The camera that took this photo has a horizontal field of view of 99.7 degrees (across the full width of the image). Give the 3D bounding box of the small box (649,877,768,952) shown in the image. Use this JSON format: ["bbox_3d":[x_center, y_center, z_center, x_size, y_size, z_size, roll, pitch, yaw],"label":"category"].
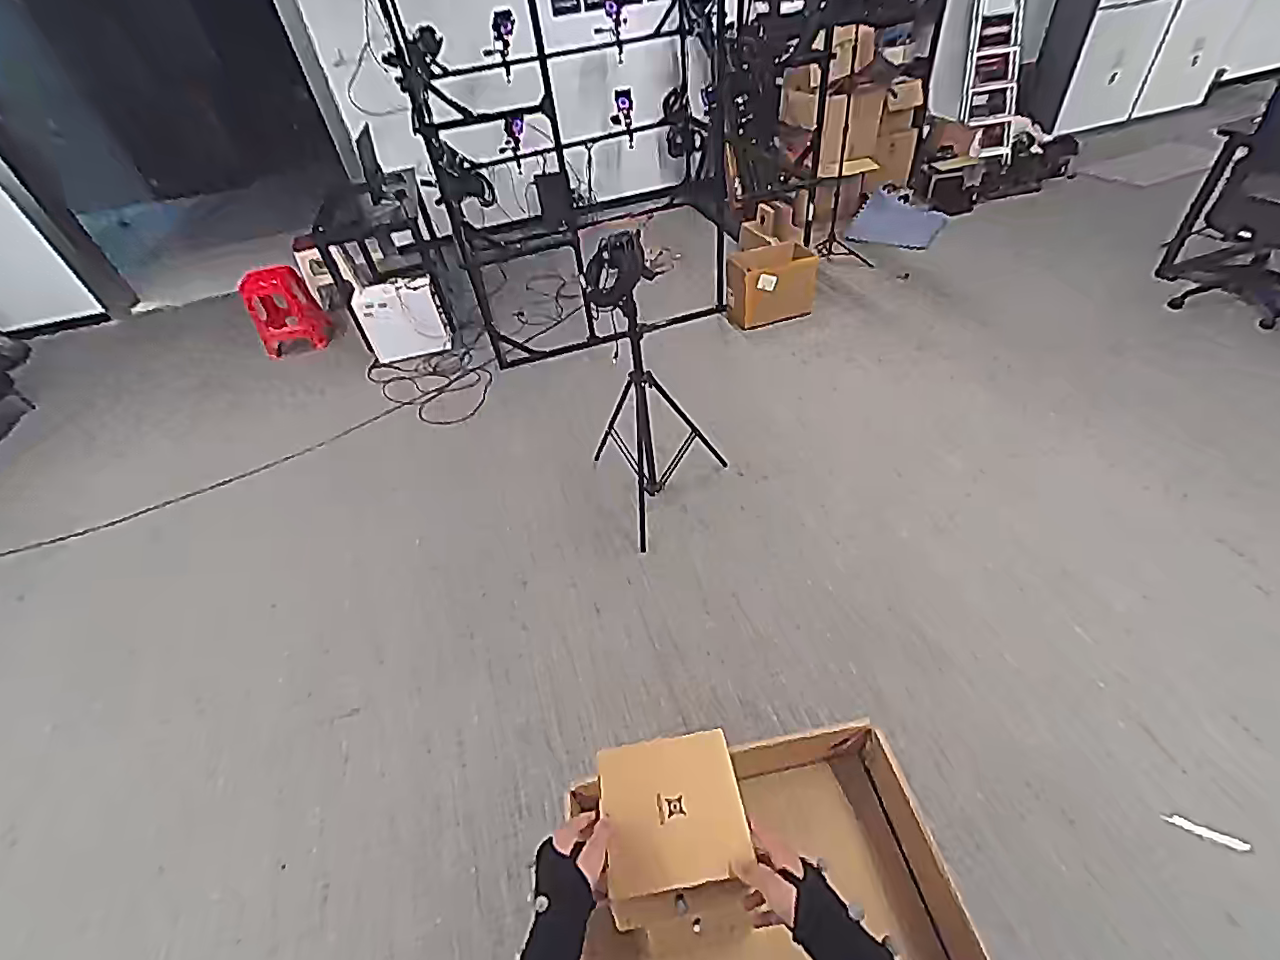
[{"bbox_3d":[0.080,0.579,0.826,0.168,0.176,0.179,-11,42,-6],"label":"small box"}]

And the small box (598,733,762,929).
[{"bbox_3d":[0.045,0.463,0.714,0.179,0.176,0.168,-9,42,-4],"label":"small box"}]
